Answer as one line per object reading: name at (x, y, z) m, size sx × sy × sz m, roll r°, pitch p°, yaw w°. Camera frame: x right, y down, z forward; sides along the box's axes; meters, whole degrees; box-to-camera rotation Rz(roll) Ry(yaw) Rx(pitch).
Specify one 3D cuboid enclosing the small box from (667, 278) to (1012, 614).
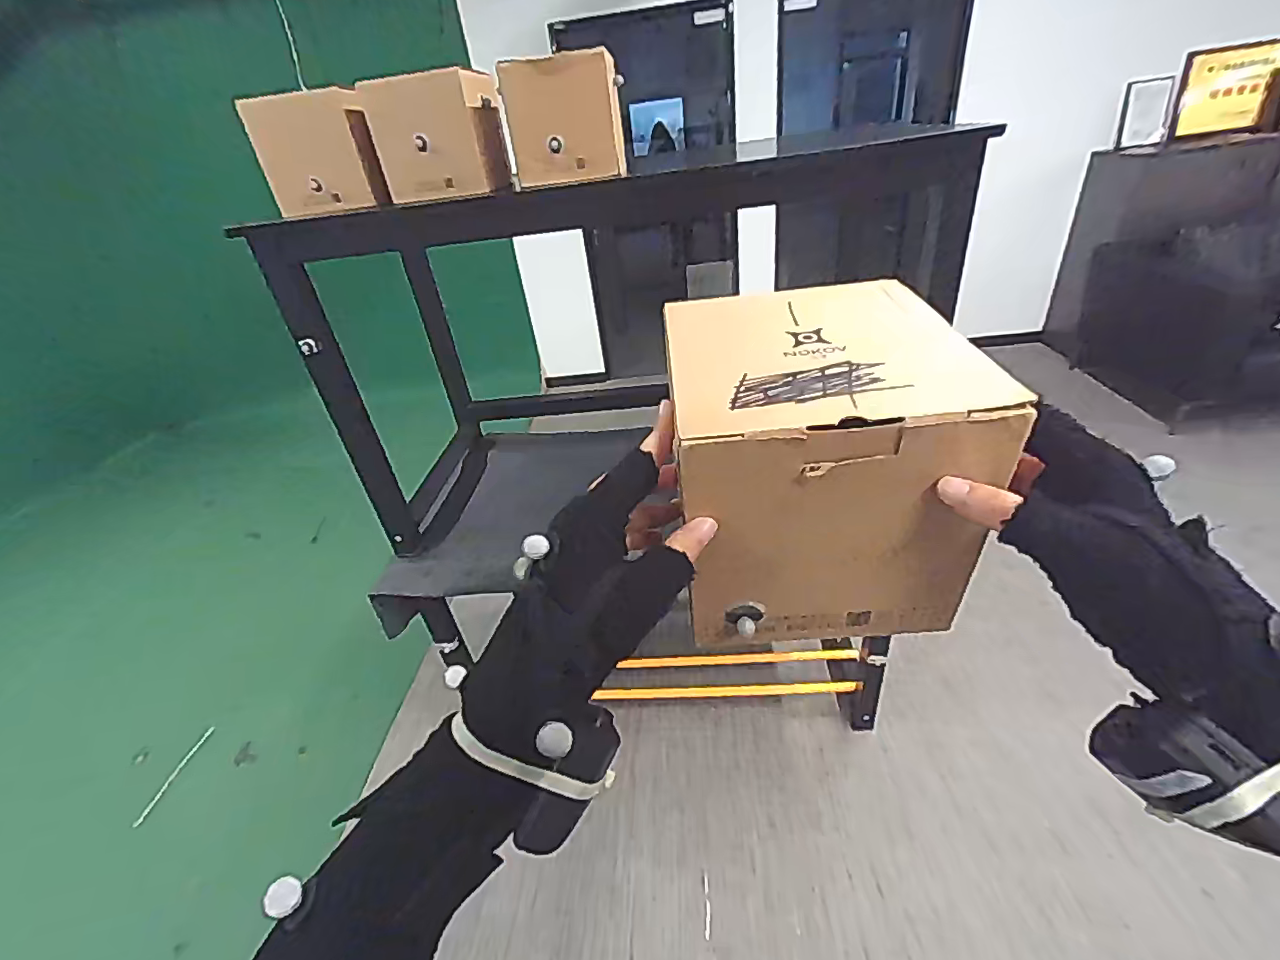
small box at (0.109, -0.021, 0.377) m, size 0.168 × 0.176 × 0.179 m, roll -4°, pitch 38°, yaw 4°
